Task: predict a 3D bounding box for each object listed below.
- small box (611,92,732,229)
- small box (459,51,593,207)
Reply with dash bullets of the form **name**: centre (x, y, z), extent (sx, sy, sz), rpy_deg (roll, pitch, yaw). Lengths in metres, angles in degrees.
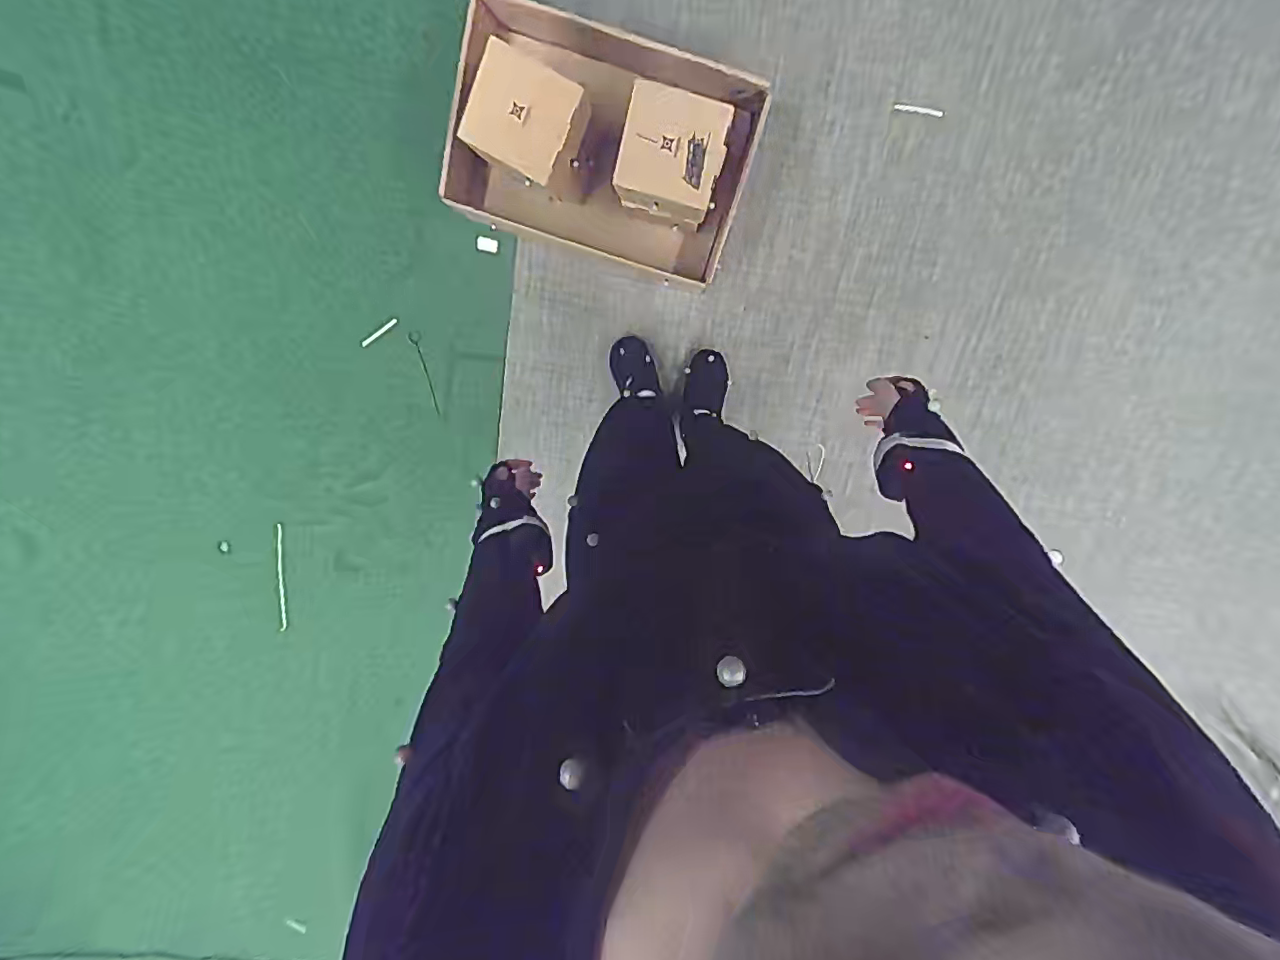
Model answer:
- **small box**: centre (0.059, -0.583, 1.013), extent (0.179, 0.176, 0.168), rpy_deg (16, 108, 0)
- **small box**: centre (-0.206, -0.640, 1.016), extent (0.179, 0.176, 0.168), rpy_deg (26, 107, -7)
